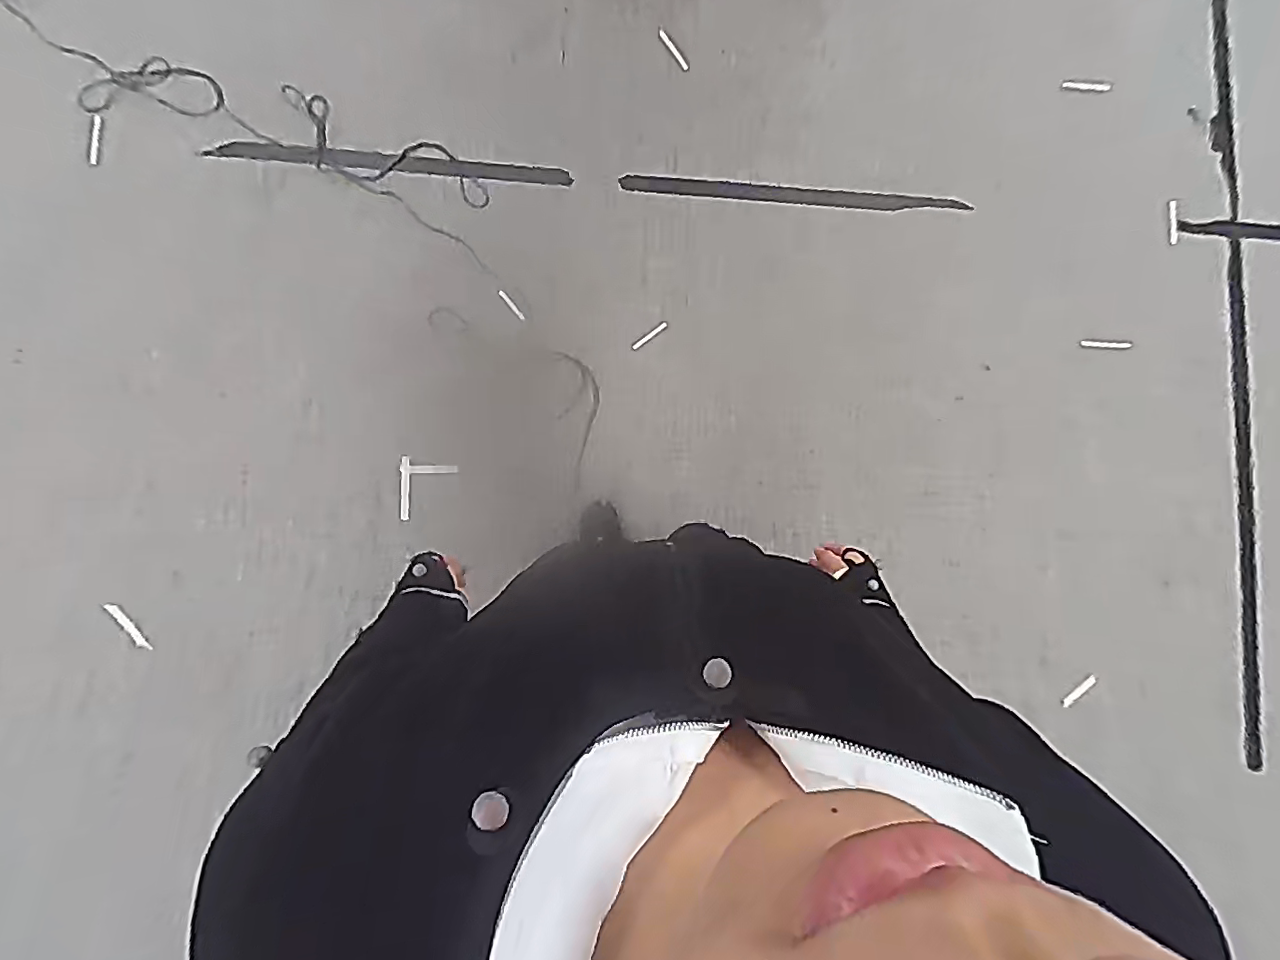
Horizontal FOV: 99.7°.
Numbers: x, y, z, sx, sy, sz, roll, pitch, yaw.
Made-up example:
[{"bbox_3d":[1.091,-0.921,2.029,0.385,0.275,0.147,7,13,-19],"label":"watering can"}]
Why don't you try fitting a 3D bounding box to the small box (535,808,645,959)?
[{"bbox_3d":[-0.078,0.672,0.888,0.168,0.176,0.179,0,83,-4],"label":"small box"}]
